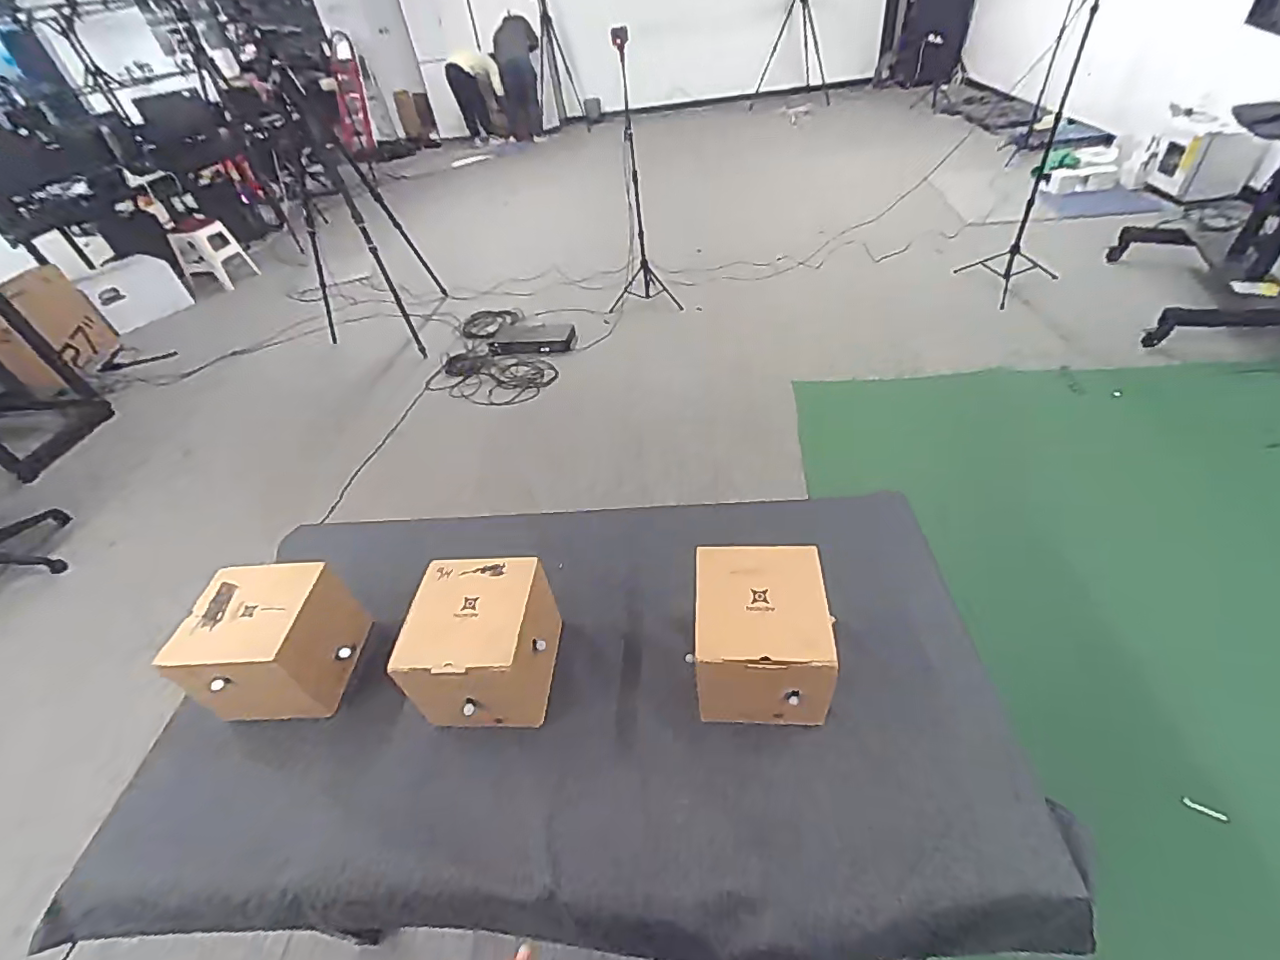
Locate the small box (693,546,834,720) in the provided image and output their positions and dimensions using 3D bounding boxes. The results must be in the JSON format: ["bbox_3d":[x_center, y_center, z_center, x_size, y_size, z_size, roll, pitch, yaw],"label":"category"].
[{"bbox_3d":[0.159,0.210,0.743,0.168,0.176,0.179,-1,42,7],"label":"small box"}]

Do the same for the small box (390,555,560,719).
[{"bbox_3d":[-0.221,0.229,0.782,0.168,0.176,0.179,-2,43,7],"label":"small box"}]

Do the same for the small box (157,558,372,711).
[{"bbox_3d":[-0.550,0.237,0.823,0.179,0.176,0.168,-3,43,4],"label":"small box"}]
